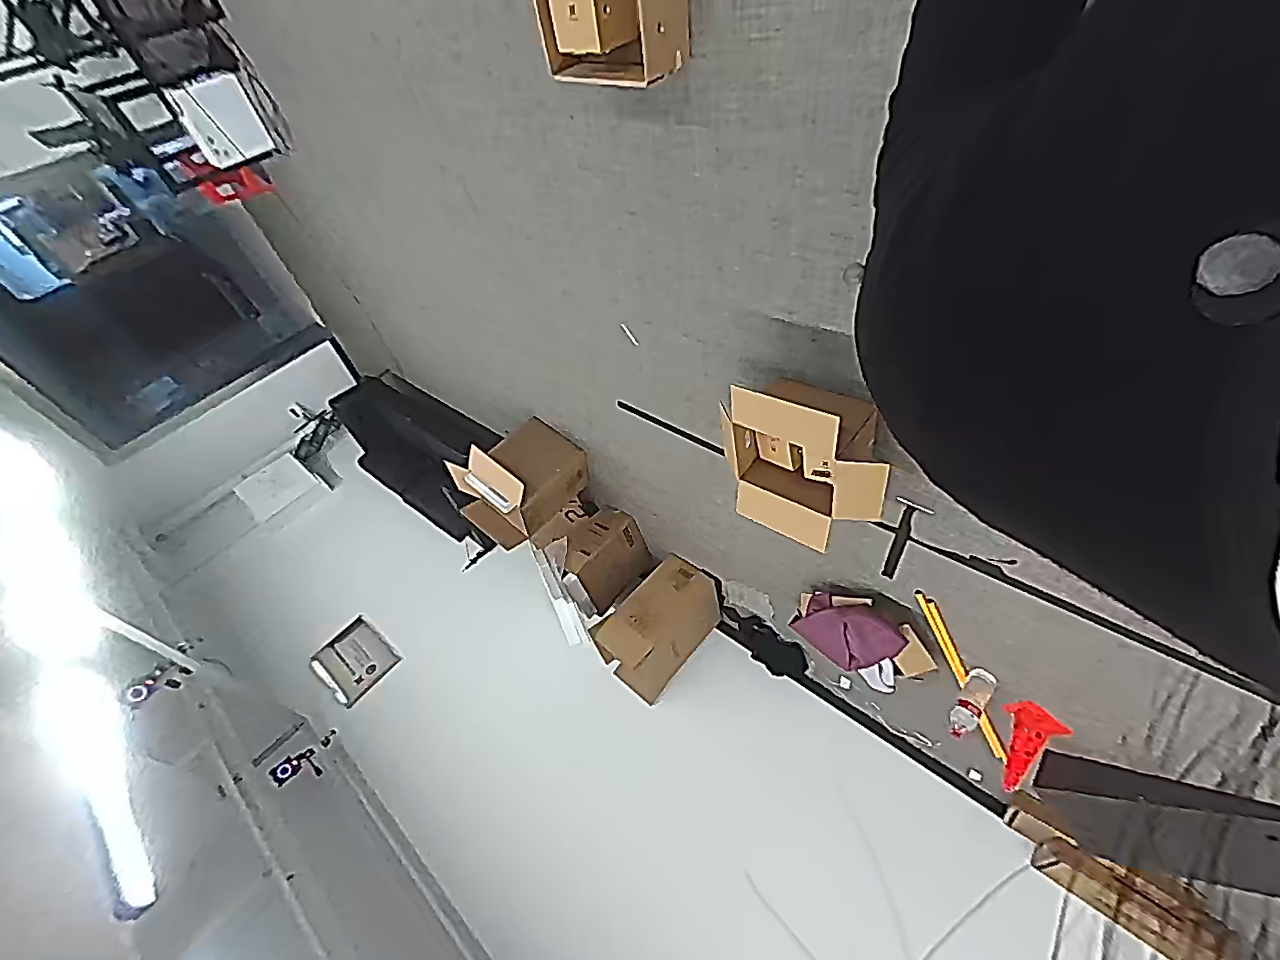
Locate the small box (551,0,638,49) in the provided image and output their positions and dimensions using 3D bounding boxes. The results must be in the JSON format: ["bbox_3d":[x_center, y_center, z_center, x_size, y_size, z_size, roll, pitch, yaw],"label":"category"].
[{"bbox_3d":[-0.122,-1.292,1.456,0.168,0.176,0.179,27,148,29],"label":"small box"}]
